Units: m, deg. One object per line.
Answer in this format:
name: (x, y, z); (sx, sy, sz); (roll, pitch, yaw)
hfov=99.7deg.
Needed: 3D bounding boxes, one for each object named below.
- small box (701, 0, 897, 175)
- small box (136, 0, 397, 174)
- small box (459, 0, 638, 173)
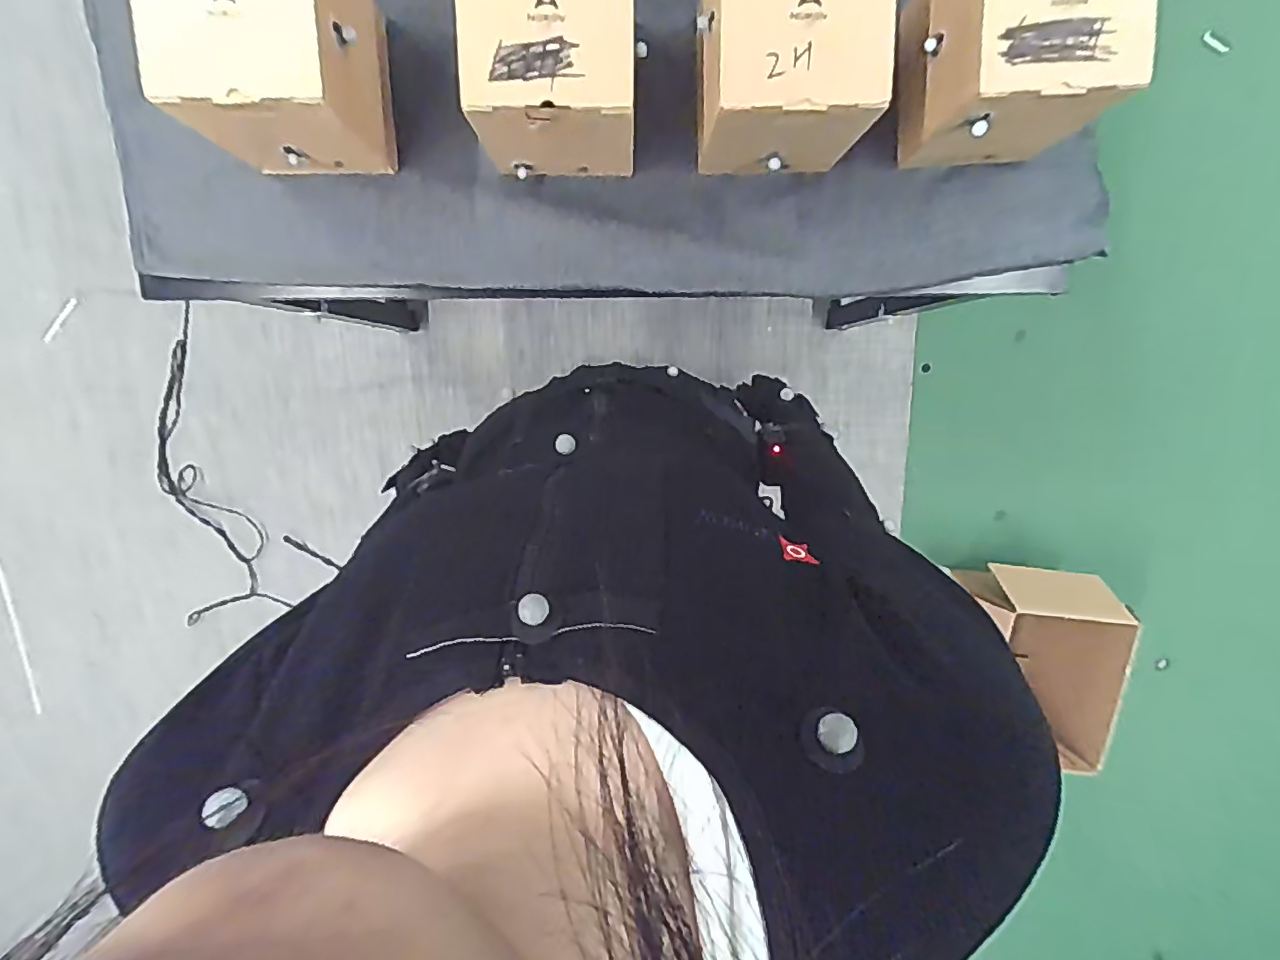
small box: (0.156, -0.454, 0.580); (0.168, 0.176, 0.179); (-2, 100, 0)
small box: (-0.374, -0.449, 0.567); (0.168, 0.176, 0.179); (-1, 100, -2)
small box: (-0.086, -0.448, 0.575); (0.168, 0.176, 0.179); (0, 100, -2)
